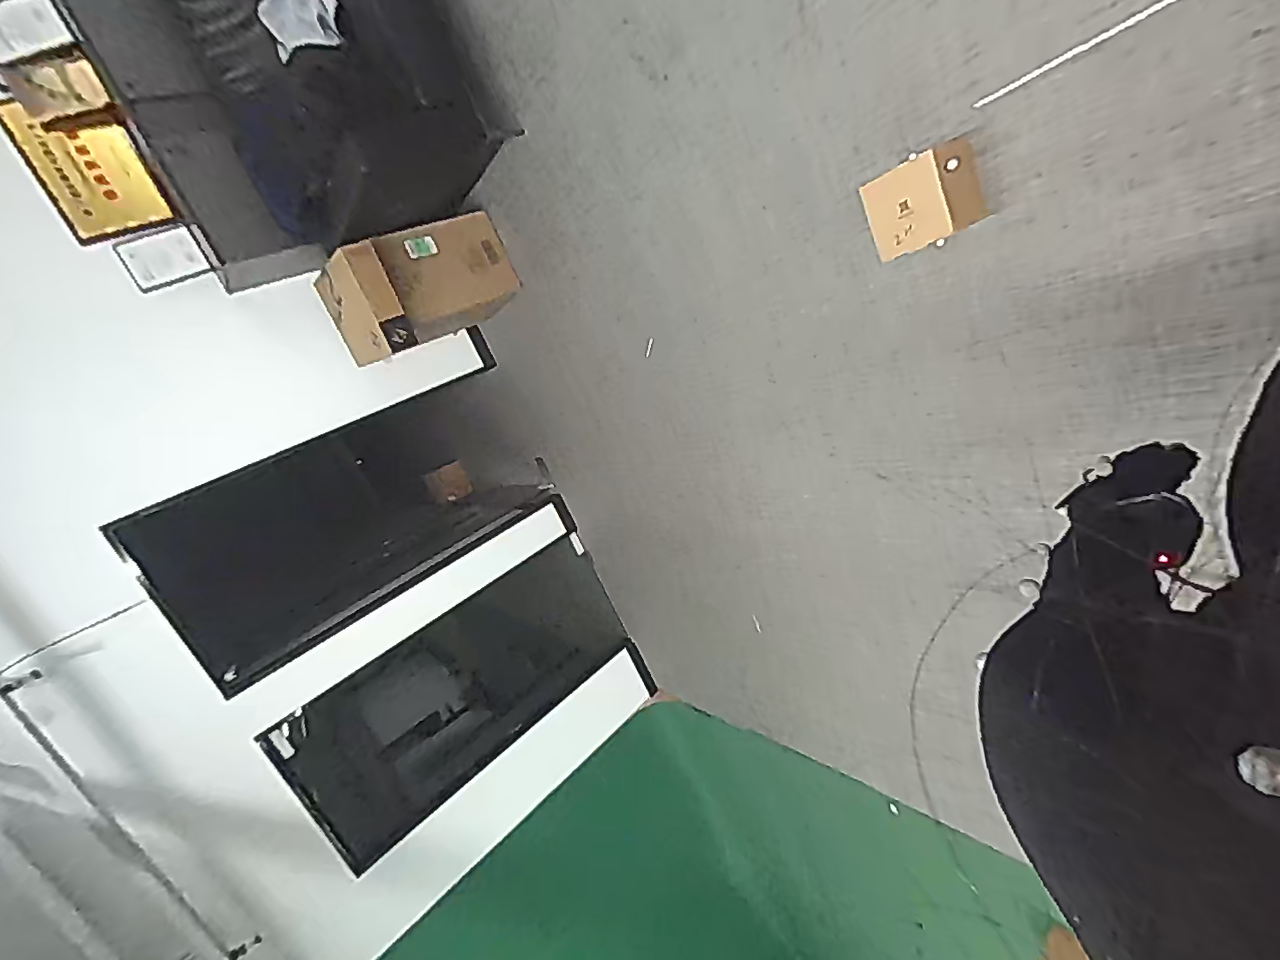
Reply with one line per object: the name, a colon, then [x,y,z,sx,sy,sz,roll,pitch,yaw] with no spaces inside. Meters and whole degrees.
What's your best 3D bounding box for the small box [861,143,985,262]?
small box: [0.625,-0.613,1.192,0.168,0.176,0.179,-4,114,57]
